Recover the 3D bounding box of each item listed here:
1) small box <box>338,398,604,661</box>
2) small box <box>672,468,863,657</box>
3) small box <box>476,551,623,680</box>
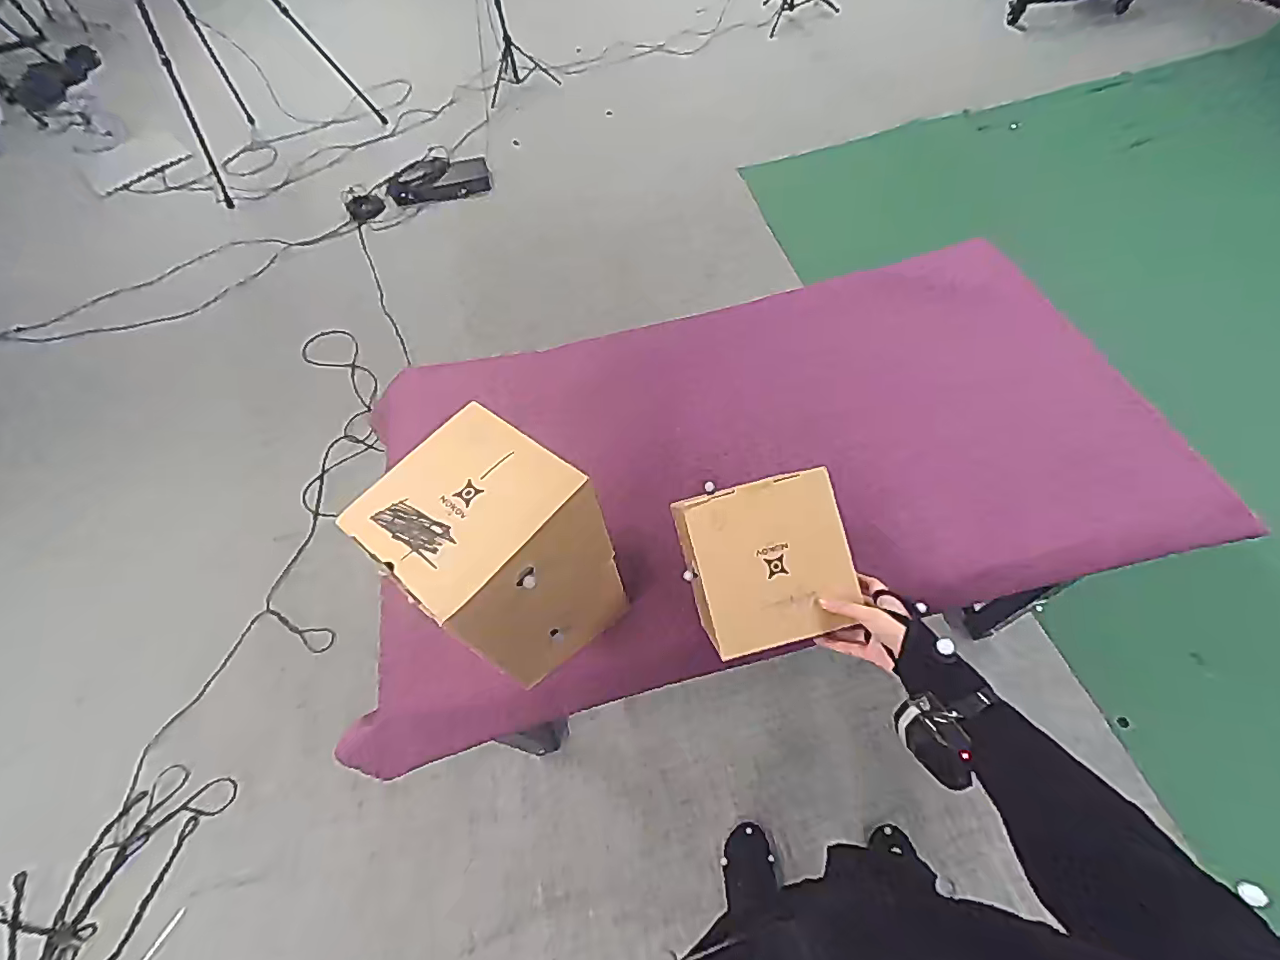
[{"bbox_3d":[-0.156,0.056,0.559,0.168,0.176,0.179,33,66,24],"label":"small box"},{"bbox_3d":[0.140,0.092,0.662,0.168,0.176,0.179,-13,88,-1],"label":"small box"},{"bbox_3d":[-0.141,0.132,0.706,0.179,0.176,0.168,-36,61,-15],"label":"small box"}]
